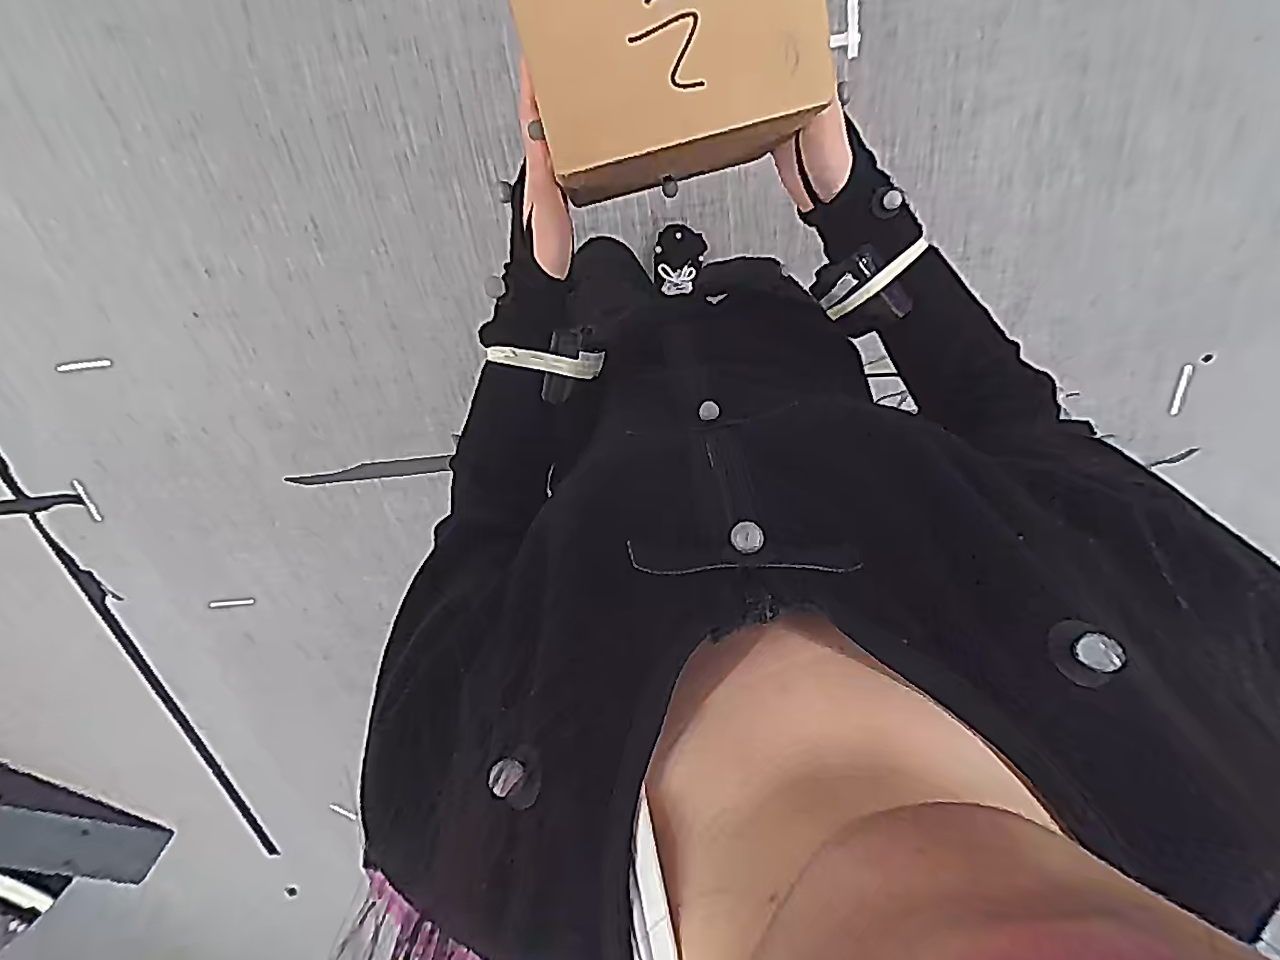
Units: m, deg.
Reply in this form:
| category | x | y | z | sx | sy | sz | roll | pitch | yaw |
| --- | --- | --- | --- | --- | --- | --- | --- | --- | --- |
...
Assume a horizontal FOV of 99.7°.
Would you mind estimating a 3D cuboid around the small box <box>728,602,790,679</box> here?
| category | x | y | z | sx | sy | sz | roll | pitch | yaw |
| --- | --- | --- | --- | --- | --- | --- | --- | --- | --- |
| small box | 0.376 | 0.504 | 1.722 | 0.168 | 0.176 | 0.179 | -5 | 116 | 3 |
